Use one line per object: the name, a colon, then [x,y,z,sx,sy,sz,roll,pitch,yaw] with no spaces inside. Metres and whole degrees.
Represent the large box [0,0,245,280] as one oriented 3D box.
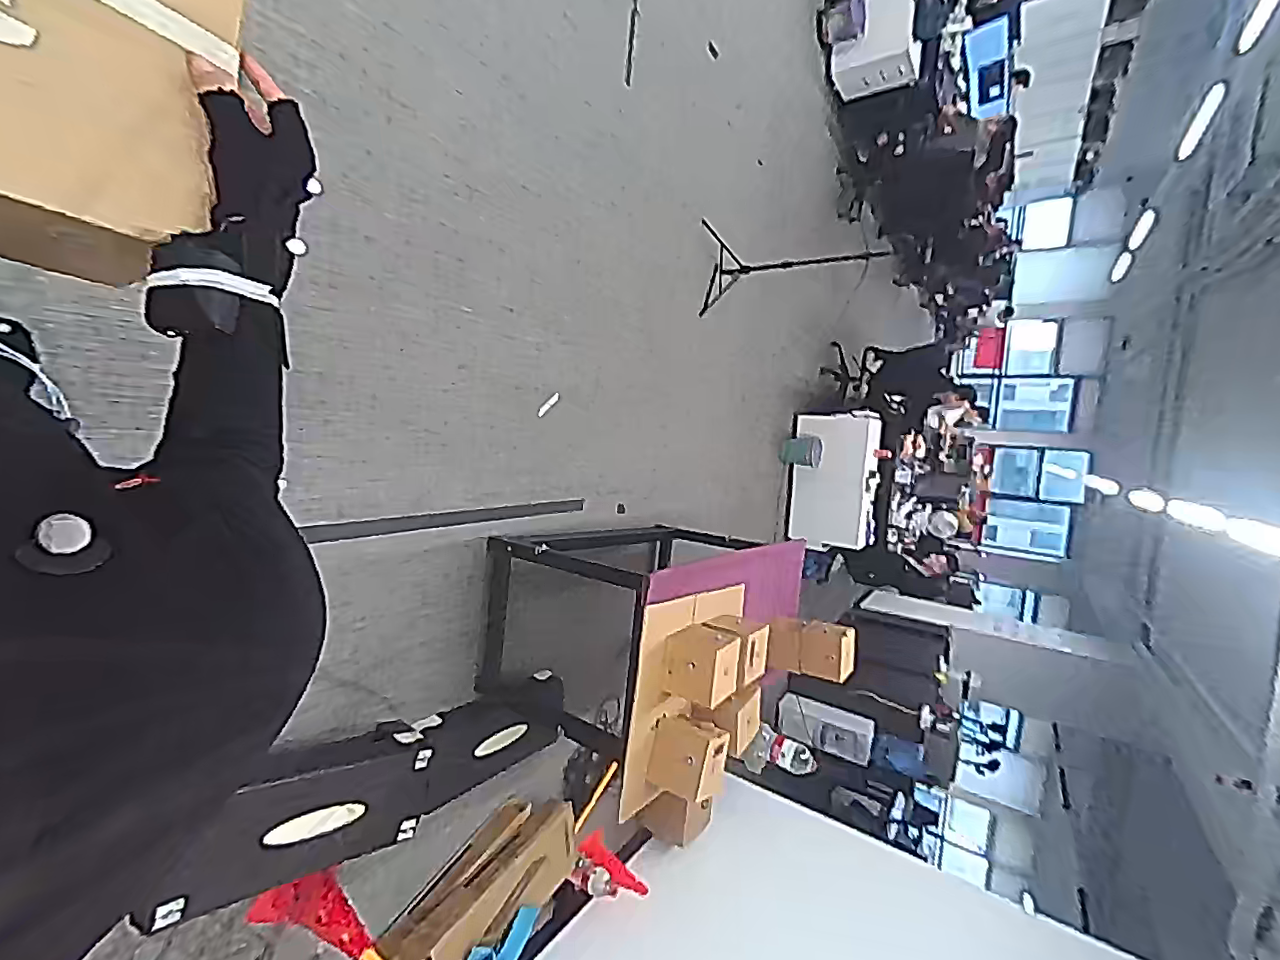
large box: [-0.571,-0.369,0.371,0.408,0.320,0.320,8,93,-55]
